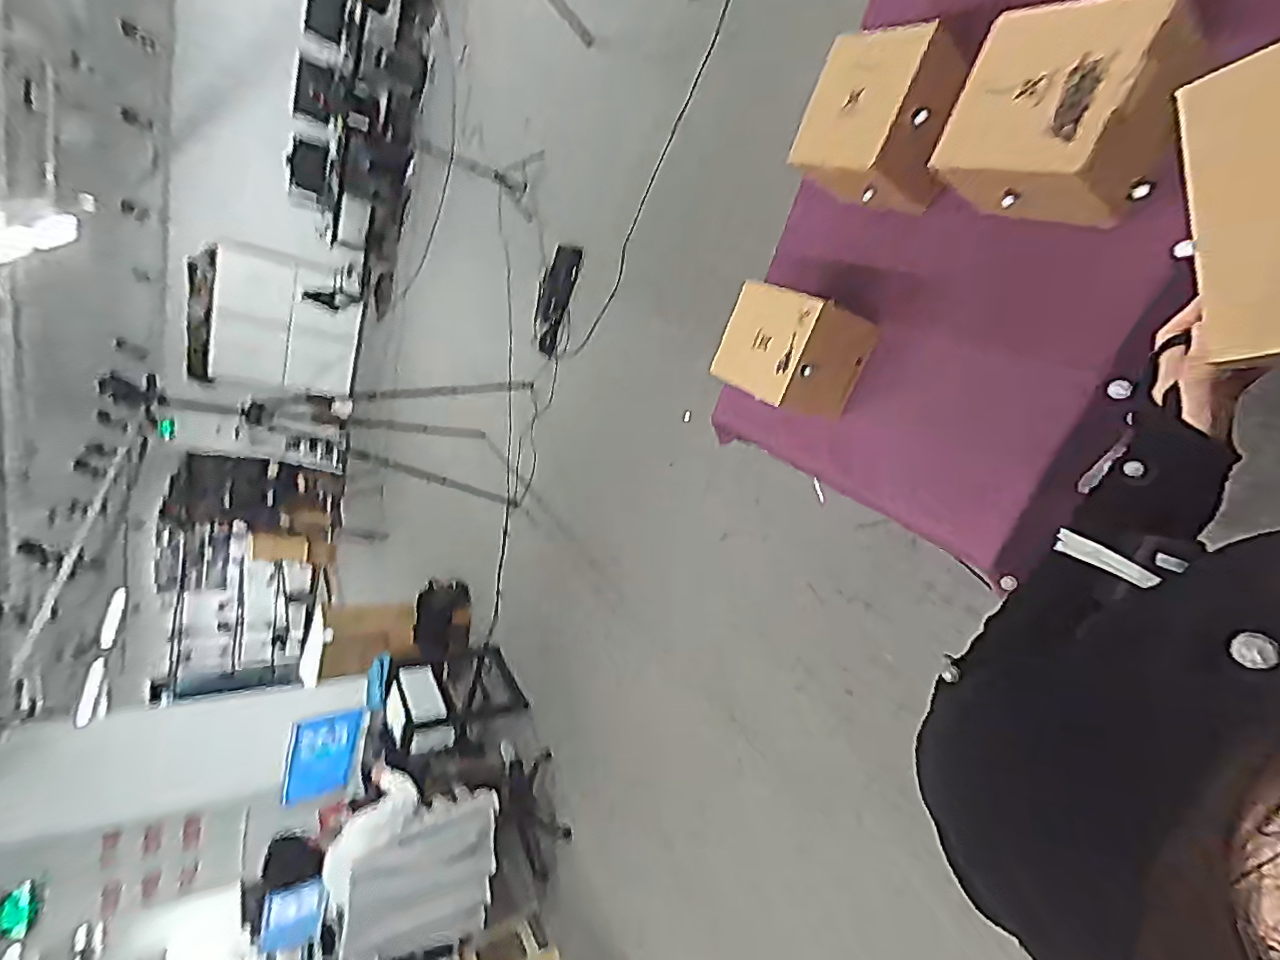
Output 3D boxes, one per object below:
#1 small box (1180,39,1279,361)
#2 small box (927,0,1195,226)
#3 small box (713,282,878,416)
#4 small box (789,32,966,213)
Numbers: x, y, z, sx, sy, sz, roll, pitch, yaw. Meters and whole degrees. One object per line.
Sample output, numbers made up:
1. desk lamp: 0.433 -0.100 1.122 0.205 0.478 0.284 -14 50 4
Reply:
1. small box: 0.447 -0.166 0.309 0.179 0.176 0.168 -3 94 51
2. small box: 0.498 -0.421 0.645 0.179 0.176 0.168 43 119 48
3. small box: 0.264 -0.220 0.929 0.179 0.176 0.168 41 118 47
4. small box: 0.372 -0.533 0.829 0.168 0.176 0.179 43 119 45
